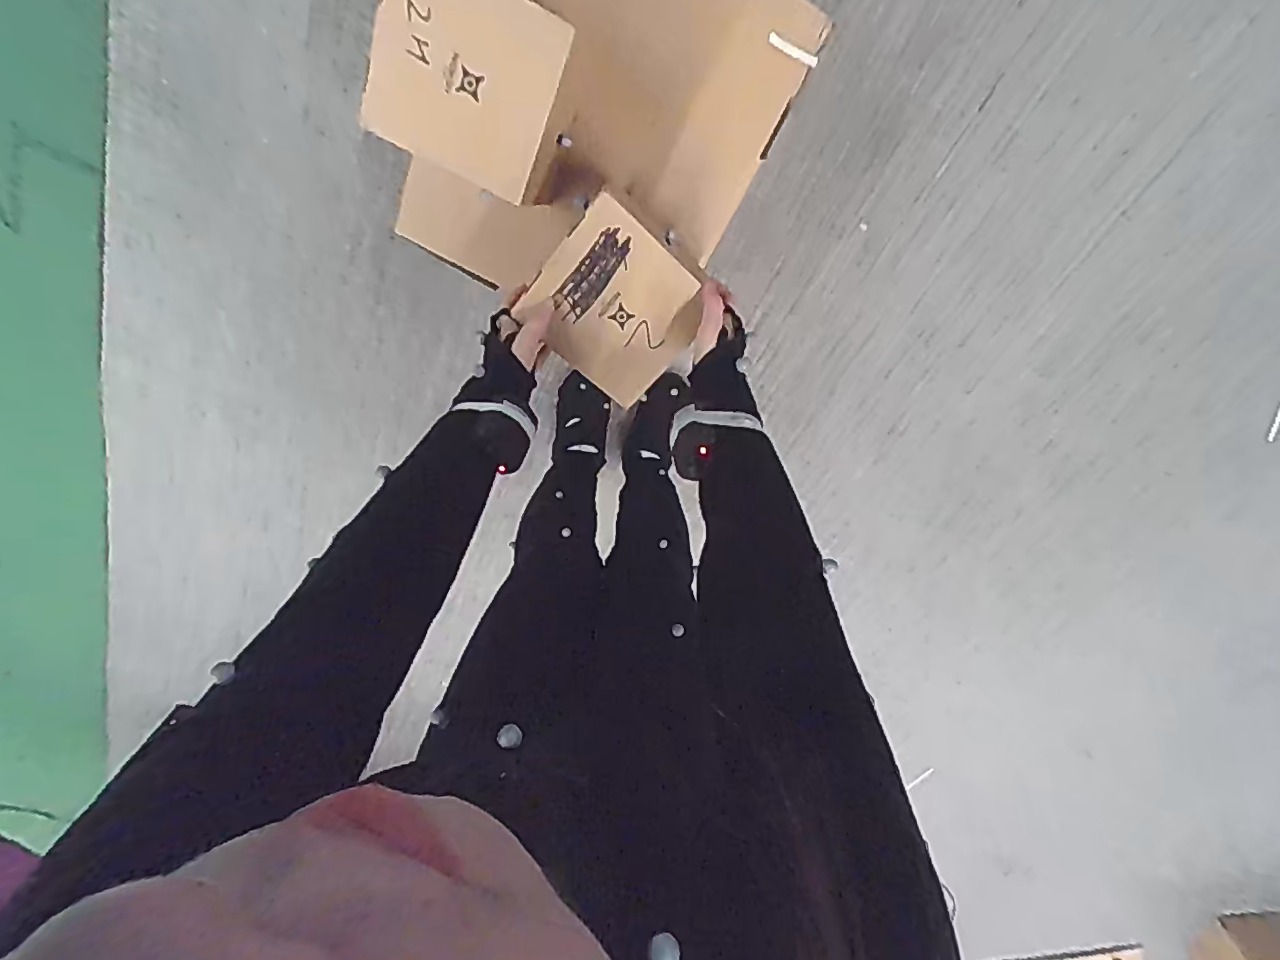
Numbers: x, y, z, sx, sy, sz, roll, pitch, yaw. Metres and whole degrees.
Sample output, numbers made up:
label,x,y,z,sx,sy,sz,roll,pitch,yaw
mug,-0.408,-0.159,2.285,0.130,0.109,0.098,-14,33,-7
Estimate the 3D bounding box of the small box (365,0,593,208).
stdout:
label,x,y,z,sx,sy,sz,roll,pitch,yaw
small box,-0.163,-0.425,0.594,0.179,0.176,0.168,24,116,-10
